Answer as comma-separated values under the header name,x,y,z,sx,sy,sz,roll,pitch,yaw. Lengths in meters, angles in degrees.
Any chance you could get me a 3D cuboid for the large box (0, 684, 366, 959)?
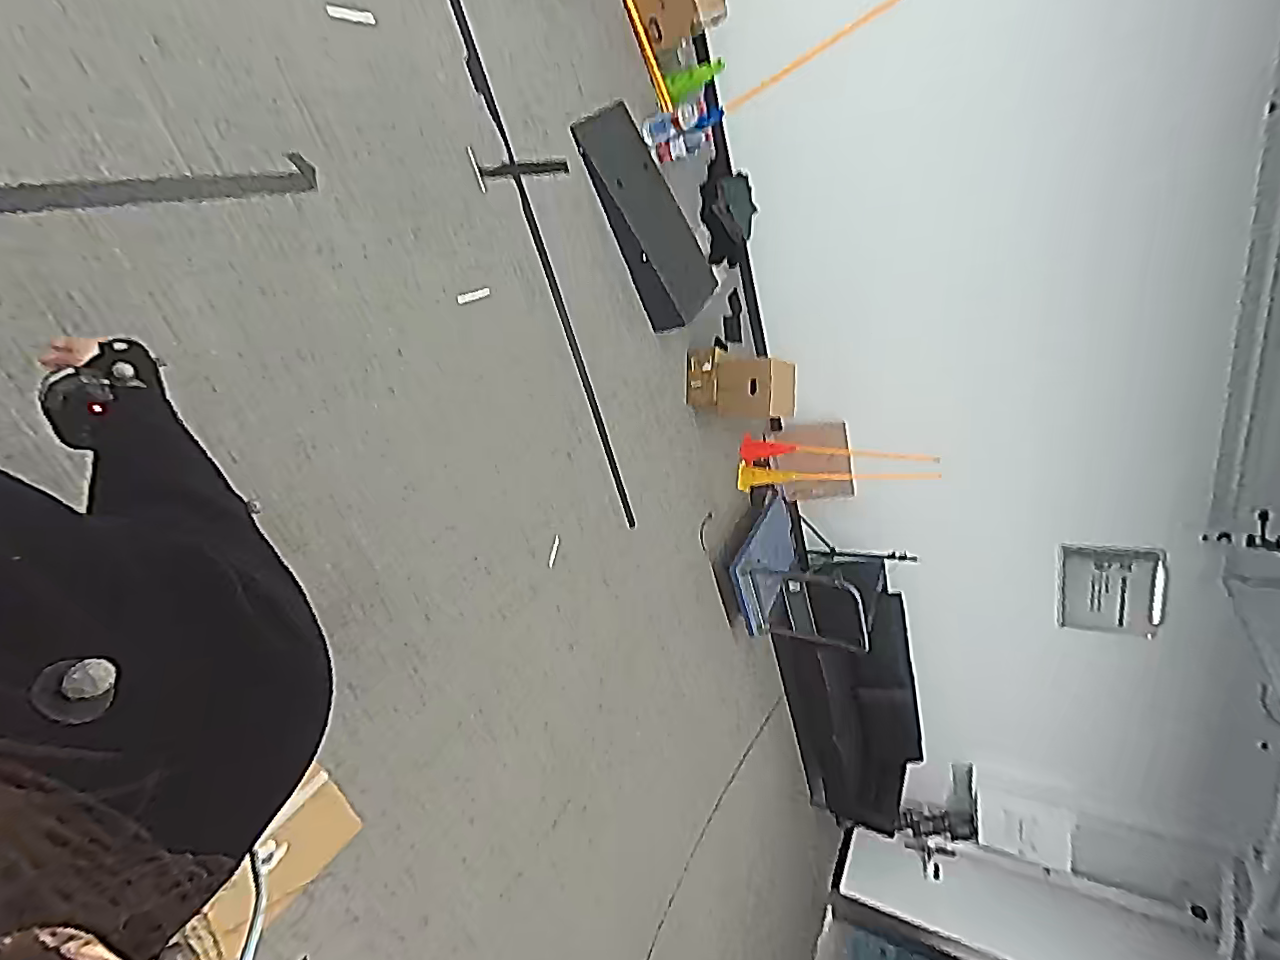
name,x,y,z,sx,sy,sz,roll,pitch,yaw
large box,-0.793,0.635,0.937,0.408,0.320,0.320,-43,123,-48
